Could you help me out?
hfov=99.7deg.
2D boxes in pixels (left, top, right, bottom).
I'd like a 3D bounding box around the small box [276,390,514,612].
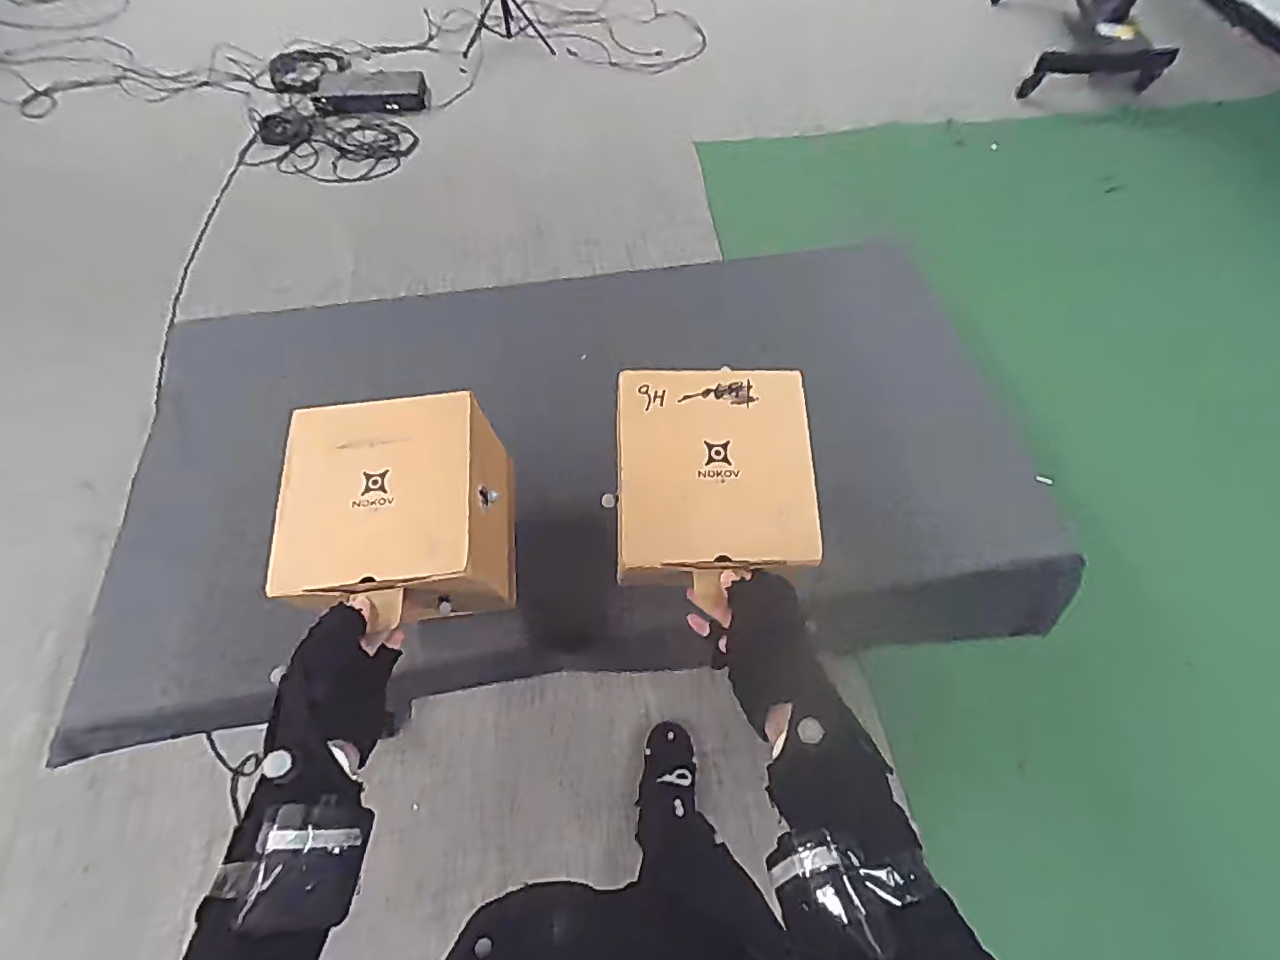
[{"bbox_3d":[-0.228,0.033,0.553,0.168,0.176,0.179,-6,66,-3],"label":"small box"}]
